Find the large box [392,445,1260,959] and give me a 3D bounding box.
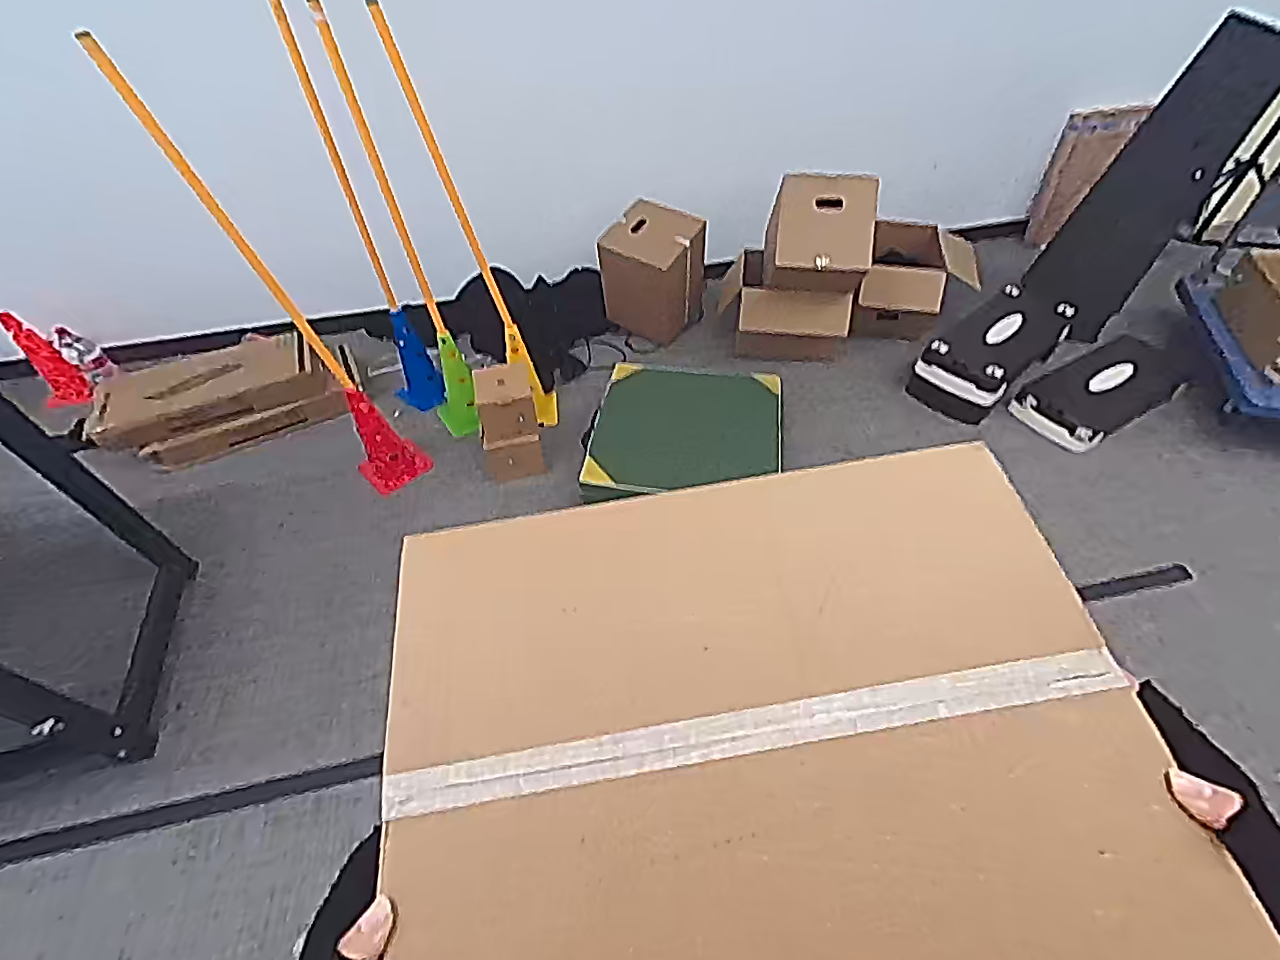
[{"bbox_3d":[0.071,0.215,0.435,0.408,0.320,0.320,-10,59,-1],"label":"large box"}]
